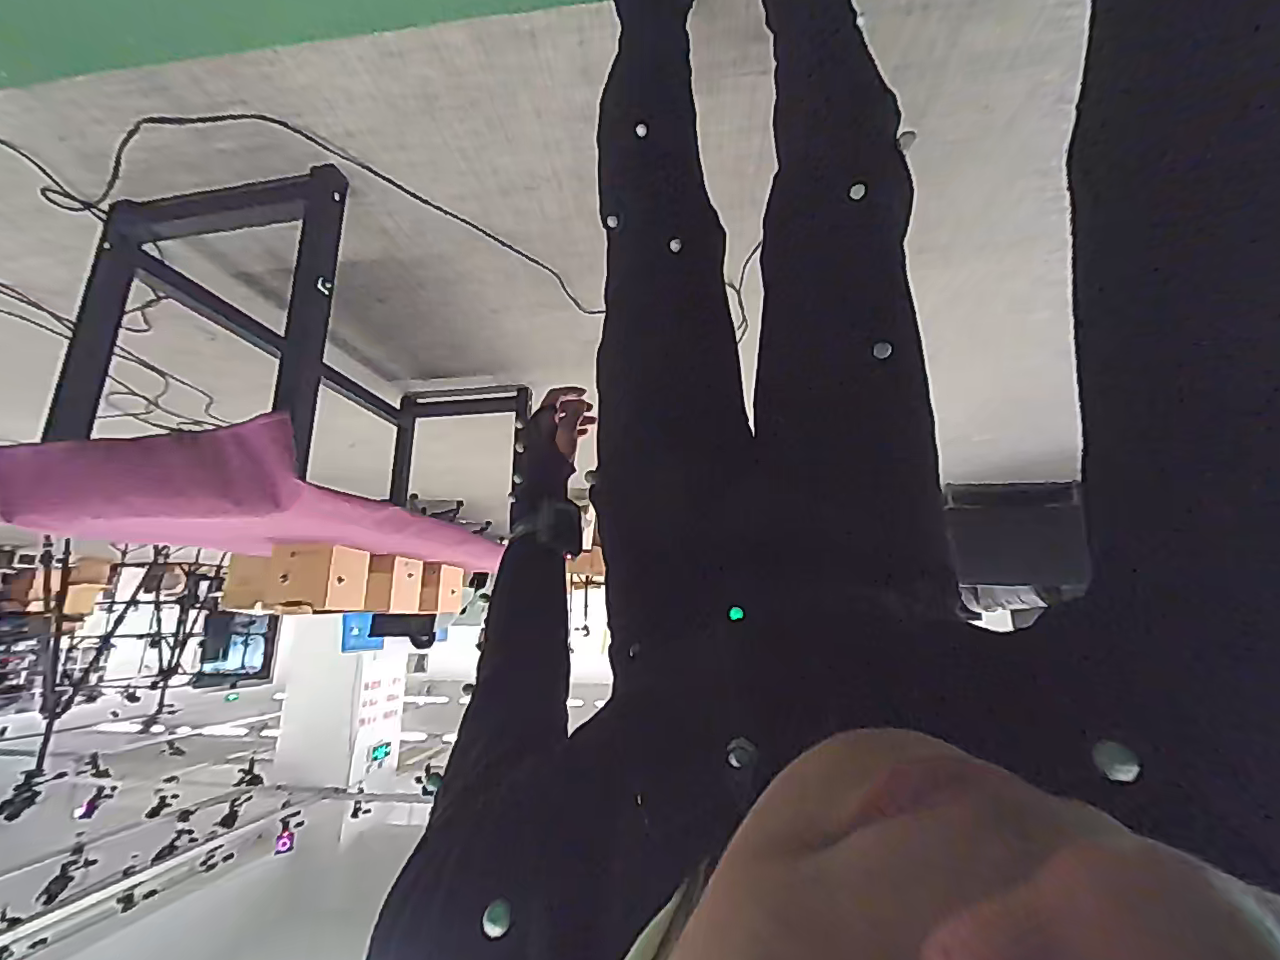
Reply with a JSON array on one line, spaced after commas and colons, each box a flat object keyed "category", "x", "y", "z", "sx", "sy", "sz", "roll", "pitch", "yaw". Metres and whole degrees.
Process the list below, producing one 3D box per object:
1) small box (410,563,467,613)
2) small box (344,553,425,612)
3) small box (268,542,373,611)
[{"category": "small box", "x": -0.738, "y": 0.386, "z": 1.935, "sx": 0.168, "sy": 0.176, "sz": 0.179, "roll": -2, "pitch": 166, "yaw": 8}, {"category": "small box", "x": -0.796, "y": 0.324, "z": 1.693, "sx": 0.179, "sy": 0.176, "sz": 0.168, "roll": -2, "pitch": 166, "yaw": 7}, {"category": "small box", "x": -0.838, "y": 0.258, "z": 1.435, "sx": 0.168, "sy": 0.176, "sz": 0.179, "roll": -1, "pitch": 166, "yaw": 4}]
